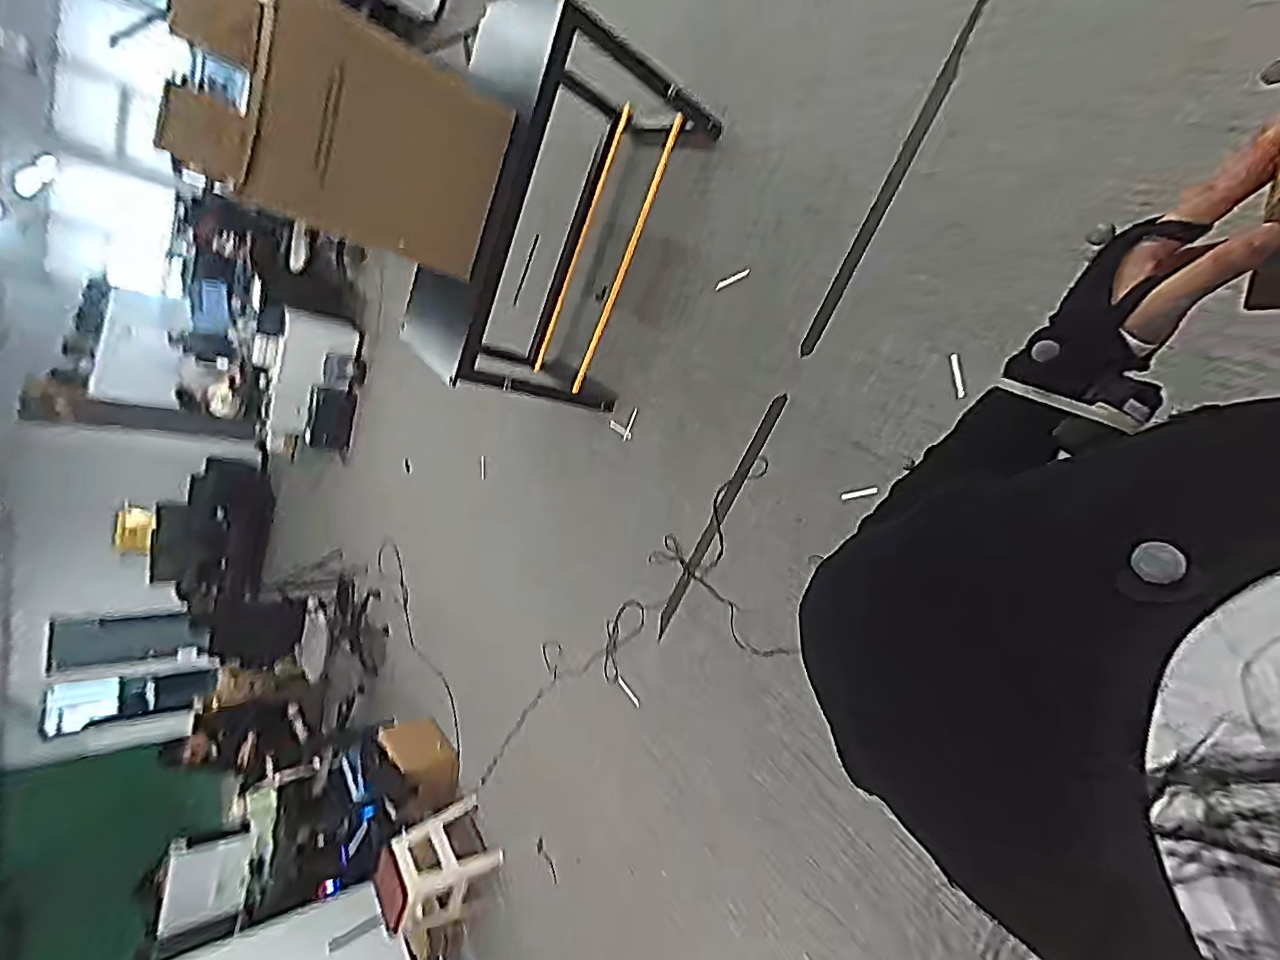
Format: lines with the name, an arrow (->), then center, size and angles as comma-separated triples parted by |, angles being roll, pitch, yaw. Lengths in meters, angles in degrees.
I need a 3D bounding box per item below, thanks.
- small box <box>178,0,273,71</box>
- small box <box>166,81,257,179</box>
small box -> -1.047, -1.173, 1.367 | 0.179, 0.176, 0.168 | 37, 113, 43
small box -> -1.159, -0.941, 1.463 | 0.179, 0.176, 0.168 | 38, 113, 42
